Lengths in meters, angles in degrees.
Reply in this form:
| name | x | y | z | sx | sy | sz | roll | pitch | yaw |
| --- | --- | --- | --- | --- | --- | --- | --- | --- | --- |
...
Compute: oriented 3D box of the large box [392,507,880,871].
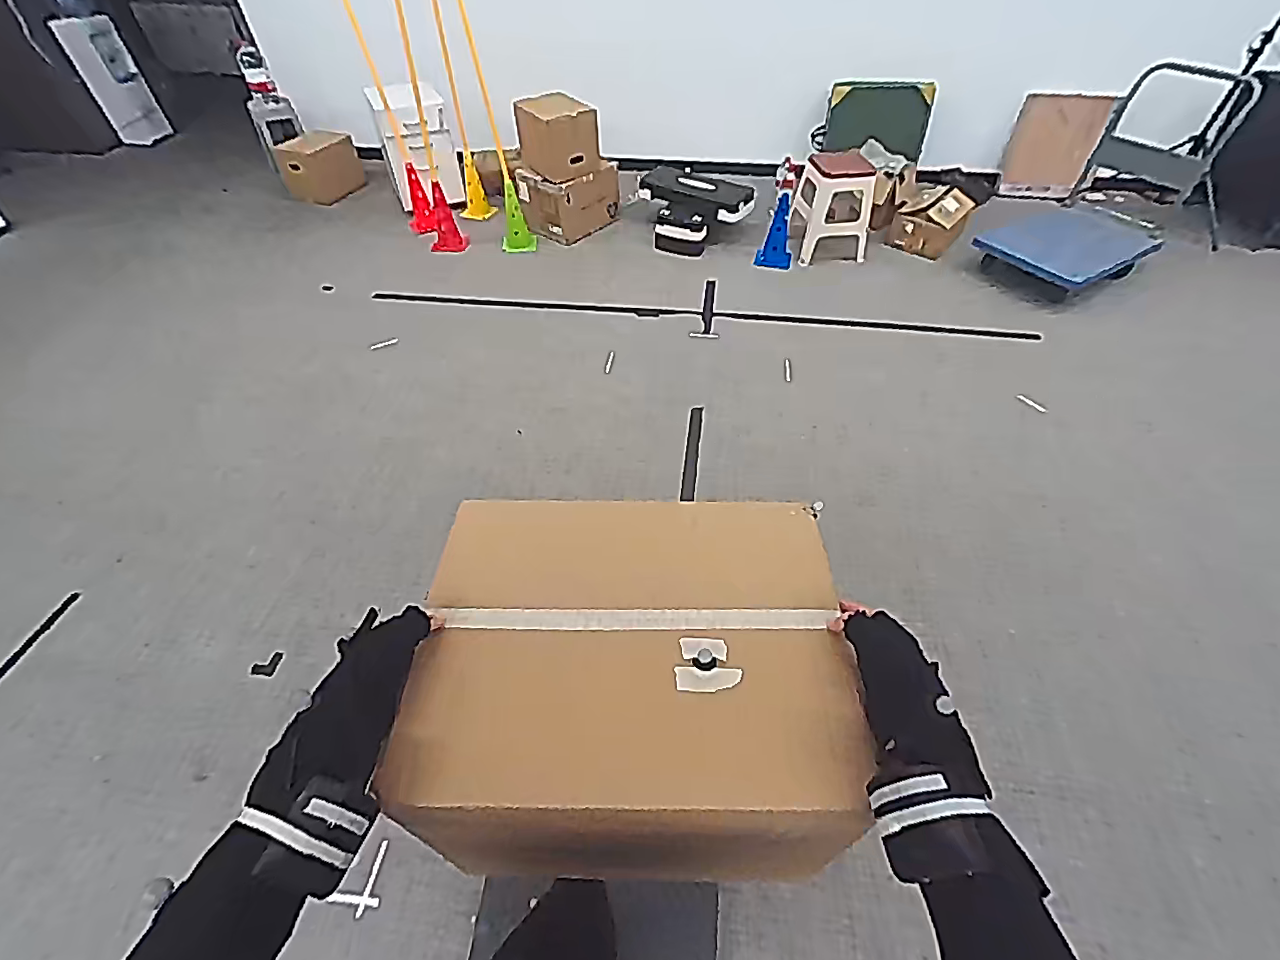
| name | x | y | z | sx | sy | sz | roll | pitch | yaw |
| --- | --- | --- | --- | --- | --- | --- | --- | --- | --- |
| large box | -0.004 | 0.246 | 0.642 | 0.408 | 0.320 | 0.320 | 0 | 46 | 1 |
